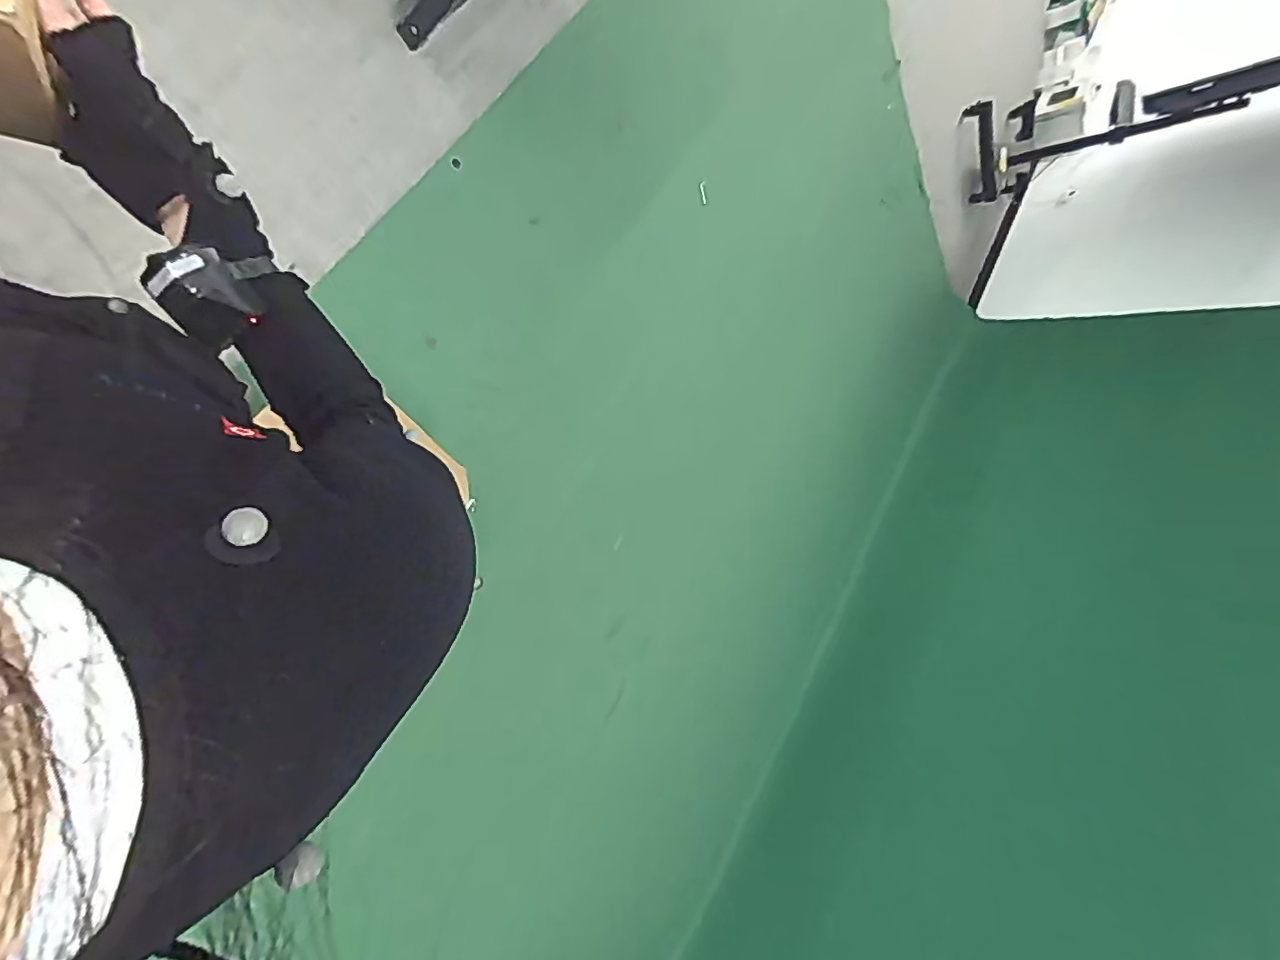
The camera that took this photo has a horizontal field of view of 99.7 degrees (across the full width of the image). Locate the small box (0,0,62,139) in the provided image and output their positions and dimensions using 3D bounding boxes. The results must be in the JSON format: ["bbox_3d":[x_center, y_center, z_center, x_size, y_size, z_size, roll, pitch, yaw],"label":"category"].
[{"bbox_3d":[-0.447,-0.332,0.293,0.168,0.176,0.179,-3,97,-40],"label":"small box"}]
